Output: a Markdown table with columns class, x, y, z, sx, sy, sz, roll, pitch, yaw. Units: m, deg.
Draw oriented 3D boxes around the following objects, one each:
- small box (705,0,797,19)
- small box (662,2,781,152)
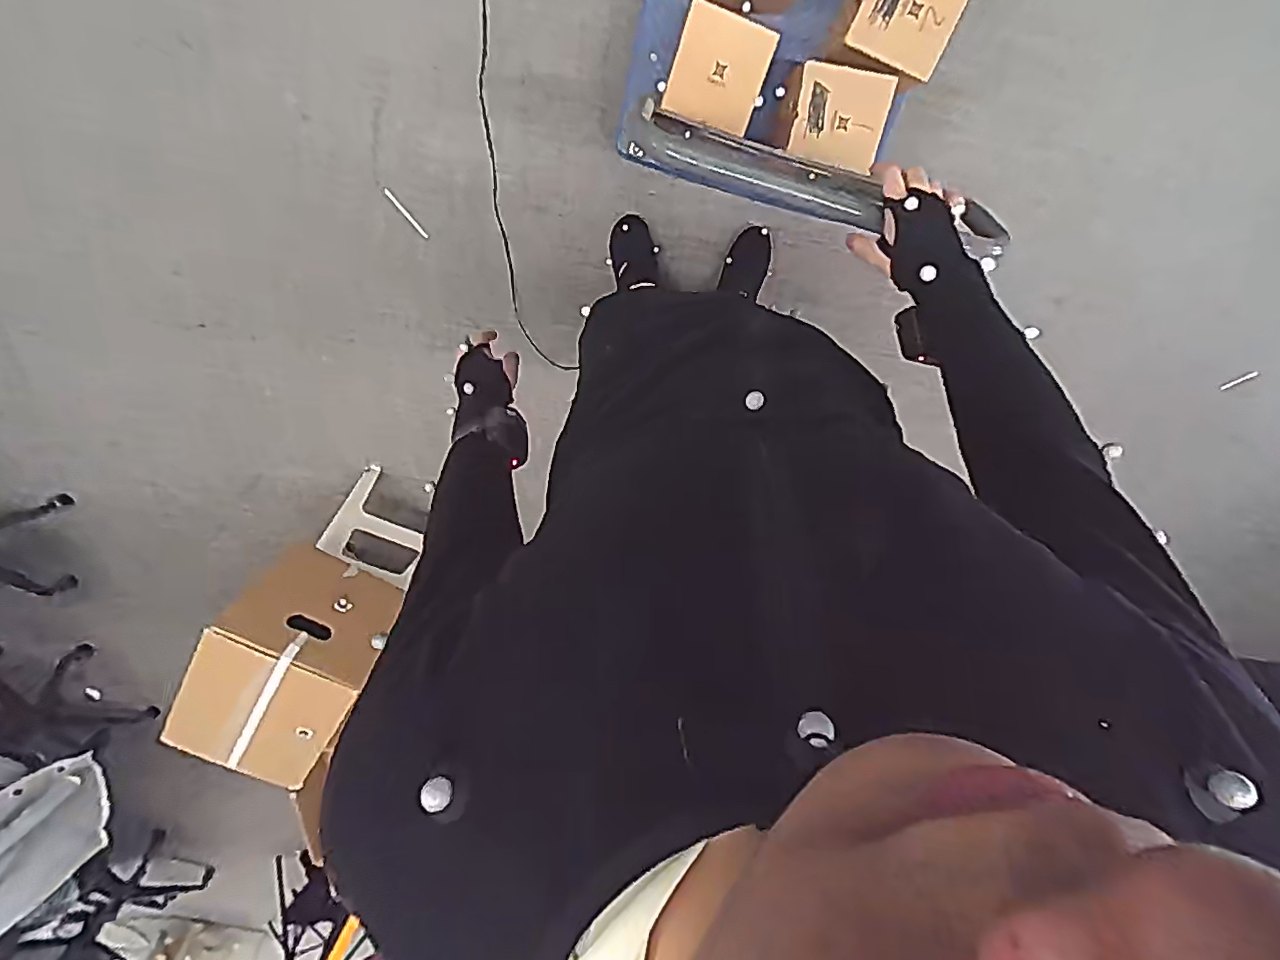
| class | x | y | z | sx | sy | sz | roll | pitch | yaw |
| --- | --- | --- | --- | --- | --- | --- | --- | --- | --- |
| small box | 0.210 | -0.945 | 0.952 | 0.168 | 0.176 | 0.179 | 2 | 118 | -2 |
| small box | 0.145 | -0.765 | 1.049 | 0.168 | 0.176 | 0.179 | 16 | 117 | -9 |
